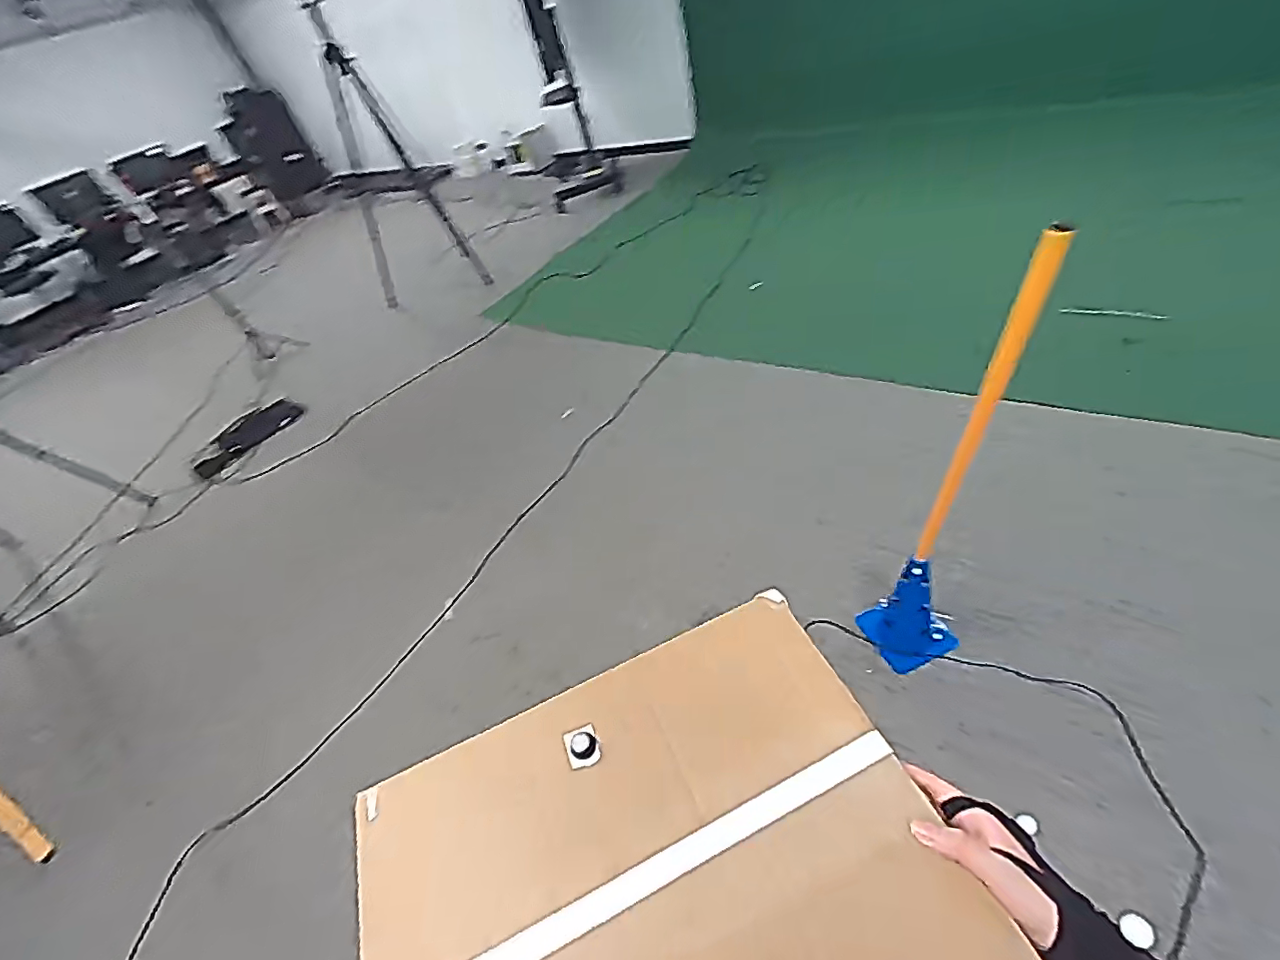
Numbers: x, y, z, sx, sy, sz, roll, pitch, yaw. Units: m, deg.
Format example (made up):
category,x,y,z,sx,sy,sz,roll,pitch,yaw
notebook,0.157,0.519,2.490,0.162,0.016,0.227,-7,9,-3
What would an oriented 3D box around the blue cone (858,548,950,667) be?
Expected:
category,x,y,z,sx,sy,sz,roll,pitch,yaw
blue cone,0.696,0.294,1.392,0.193,0.380,0.192,-25,44,-9
